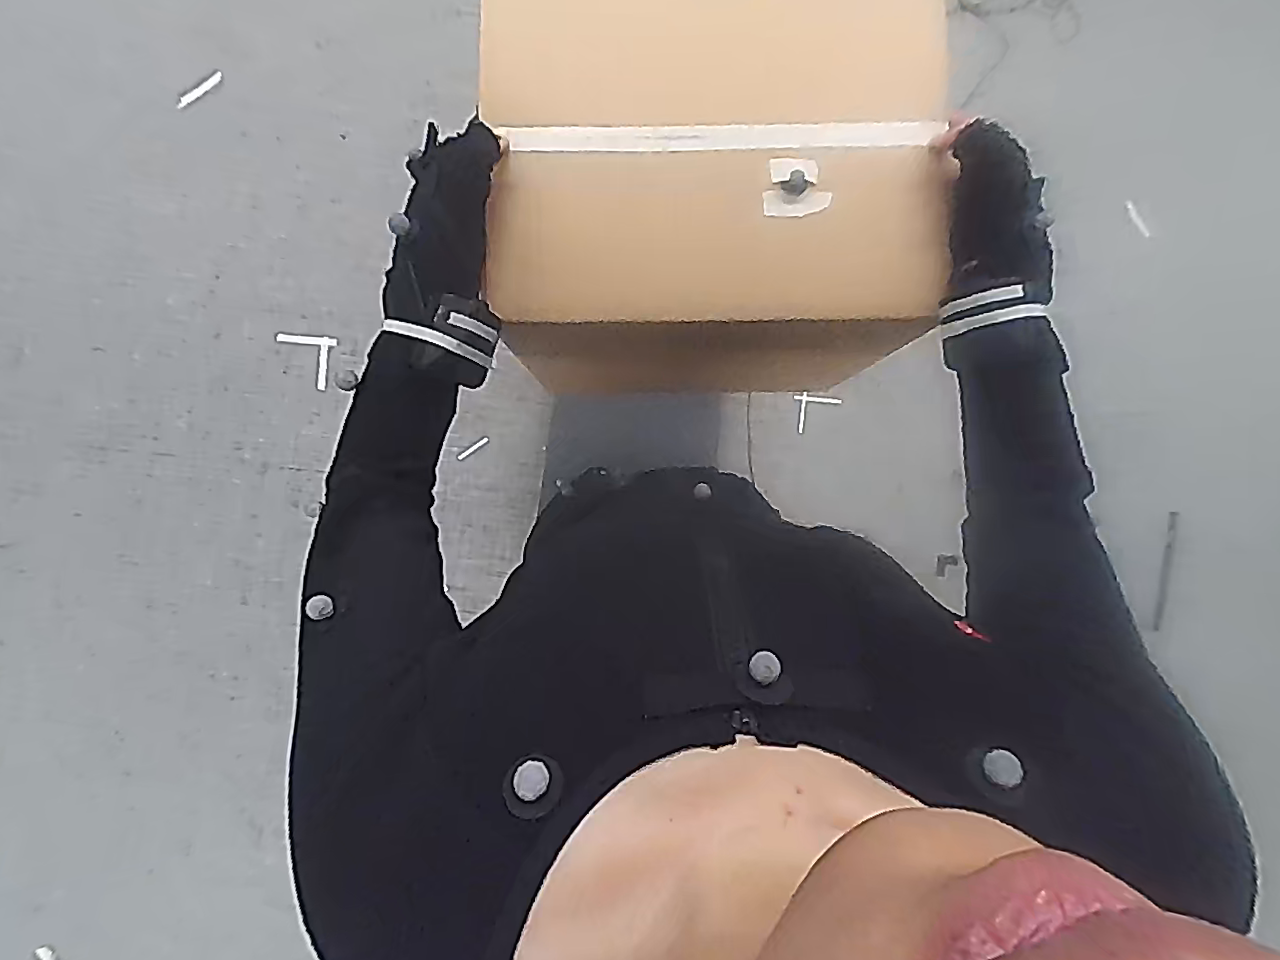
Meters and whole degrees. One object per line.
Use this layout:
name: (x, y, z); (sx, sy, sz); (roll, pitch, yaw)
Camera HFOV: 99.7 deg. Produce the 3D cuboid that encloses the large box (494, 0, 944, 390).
large box: (0.067, -0.292, 0.631); (0.408, 0.320, 0.320); (0, 88, 0)
